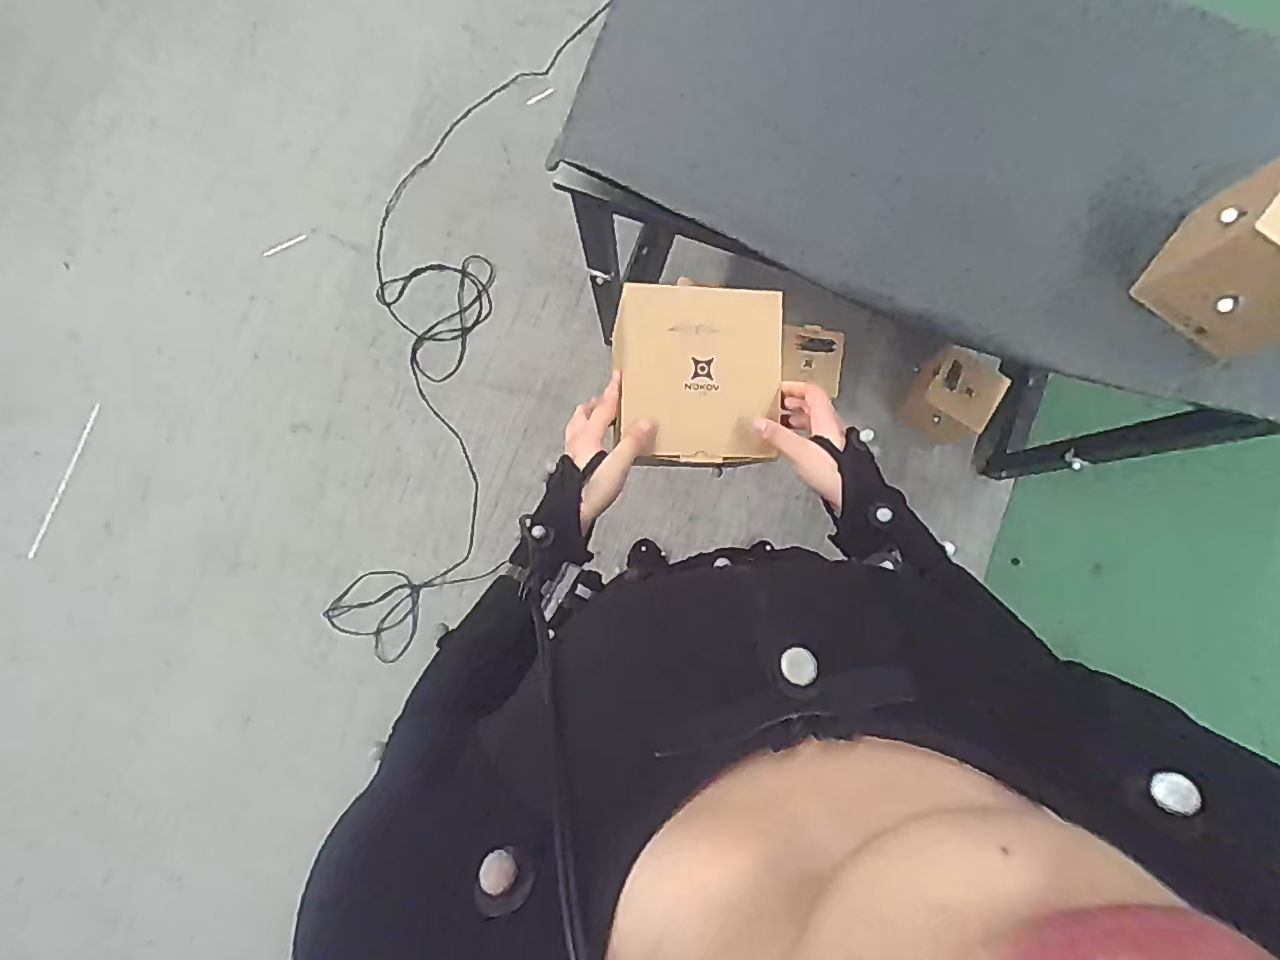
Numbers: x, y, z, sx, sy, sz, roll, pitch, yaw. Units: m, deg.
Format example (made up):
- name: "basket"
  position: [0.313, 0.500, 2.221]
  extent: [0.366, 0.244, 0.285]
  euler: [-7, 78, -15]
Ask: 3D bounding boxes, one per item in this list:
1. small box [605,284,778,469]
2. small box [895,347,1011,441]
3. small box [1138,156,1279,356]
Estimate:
- name: "small box"
  position: [0.048, -0.103, 0.618]
  extent: [0.168, 0.176, 0.179]
  euler: [1, 88, -7]
- name: "small box"
  position: [0.821, -0.220, 1.439]
  extent: [0.179, 0.176, 0.168]
  euler: [33, 86, 2]
- name: "small box"
  position: [0.827, -0.295, 0.711]
  extent: [0.168, 0.176, 0.179]
  euler: [40, 84, 5]
